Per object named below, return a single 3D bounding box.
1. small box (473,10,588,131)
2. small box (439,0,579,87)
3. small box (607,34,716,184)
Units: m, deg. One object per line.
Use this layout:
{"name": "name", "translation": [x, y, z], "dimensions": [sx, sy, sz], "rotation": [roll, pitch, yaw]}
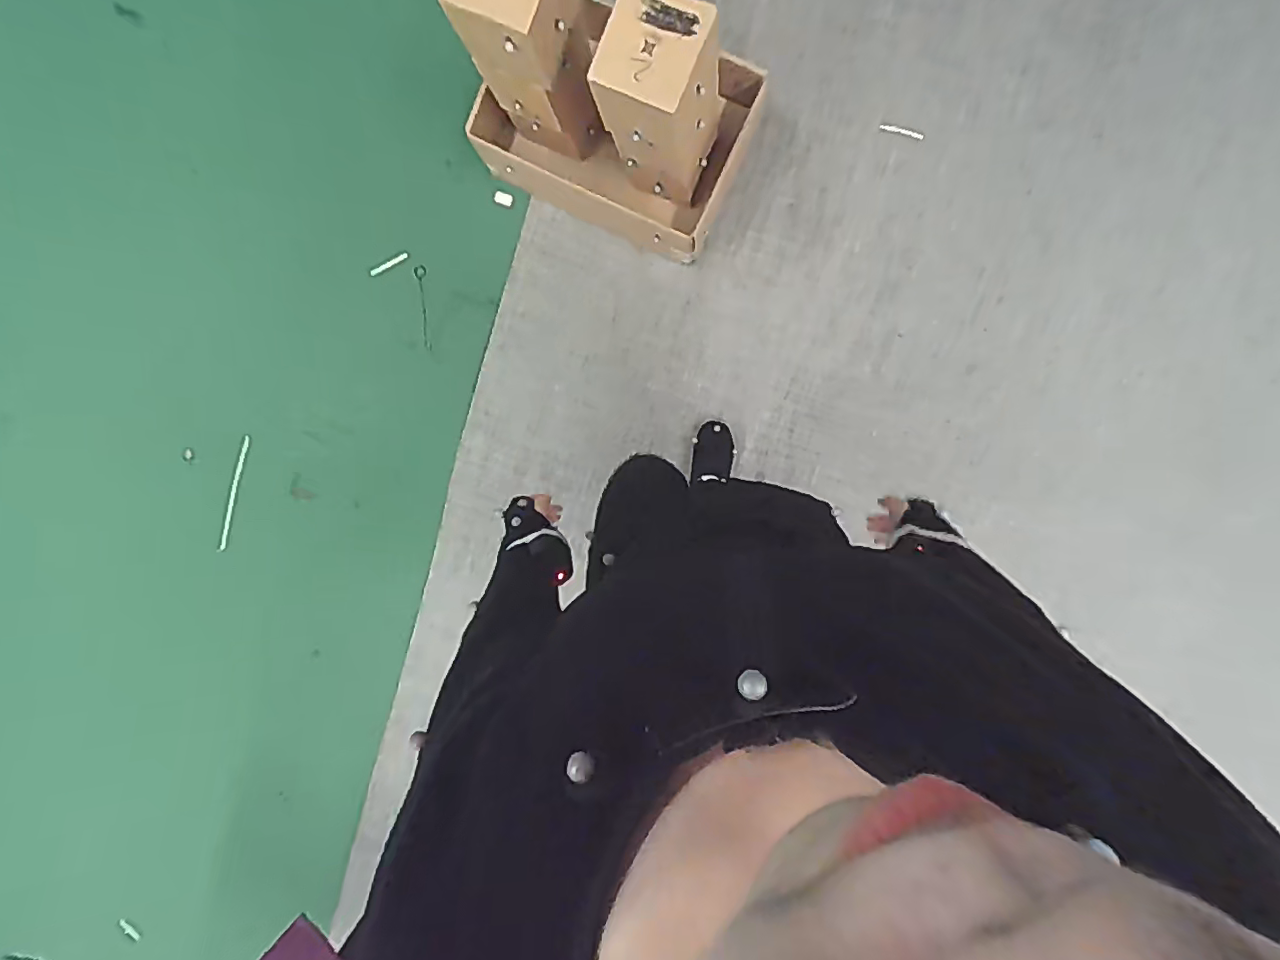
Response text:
{"name": "small box", "translation": [-0.222, -0.897, 1.151], "dimensions": [0.168, 0.176, 0.179], "rotation": [26, 99, 2]}
{"name": "small box", "translation": [-0.228, -0.869, 0.988], "dimensions": [0.179, 0.176, 0.168], "rotation": [24, 98, 2]}
{"name": "small box", "translation": [0.052, -0.761, 1.131], "dimensions": [0.168, 0.176, 0.179], "rotation": [25, 97, 4]}
